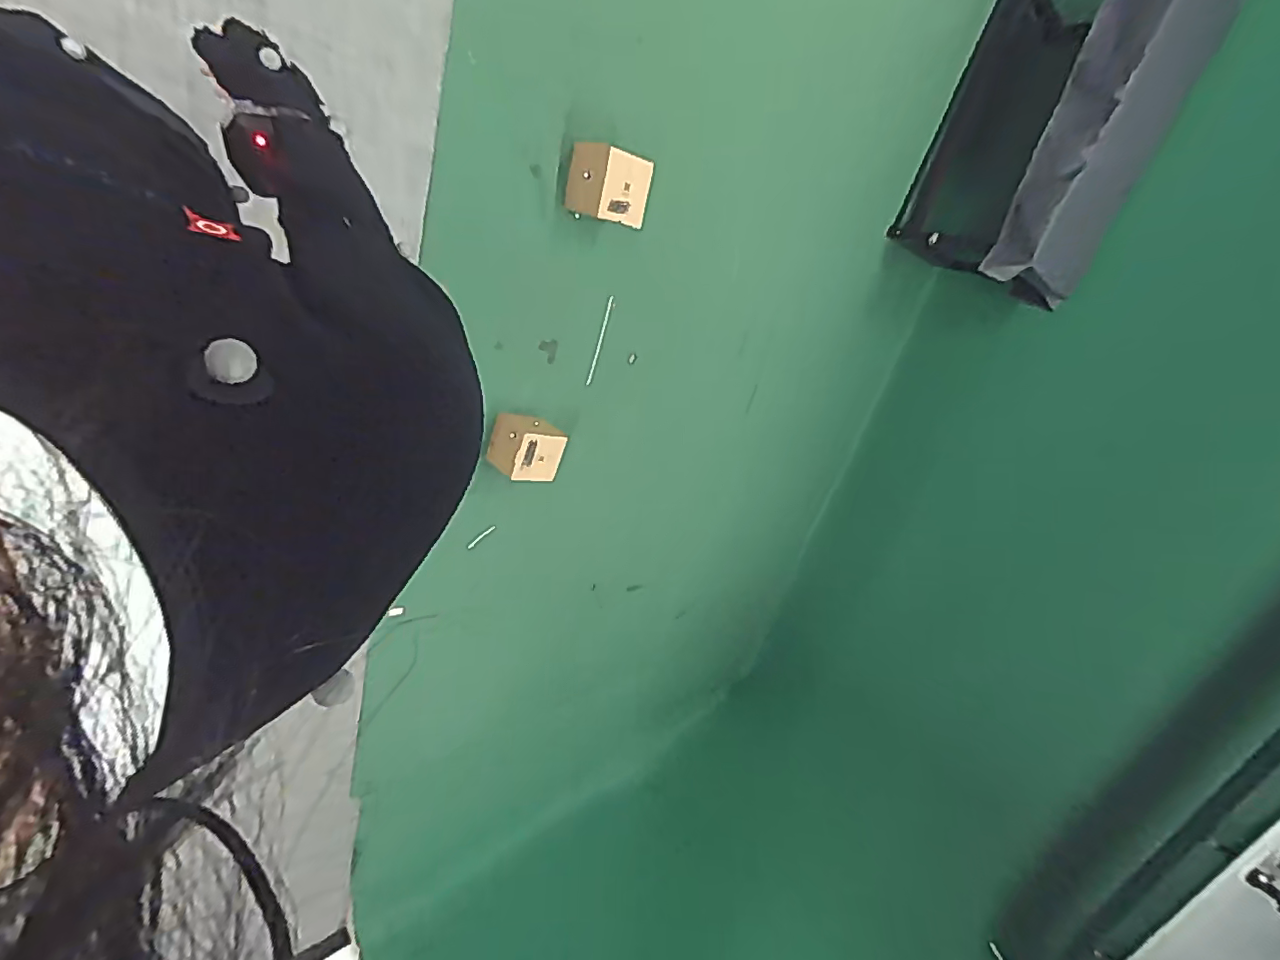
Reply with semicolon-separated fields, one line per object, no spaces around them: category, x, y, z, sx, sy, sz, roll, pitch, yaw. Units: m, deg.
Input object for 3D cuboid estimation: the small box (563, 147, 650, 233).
small box;-0.102;-0.831;1.551;0.168;0.176;0.179;-8;122;-44
